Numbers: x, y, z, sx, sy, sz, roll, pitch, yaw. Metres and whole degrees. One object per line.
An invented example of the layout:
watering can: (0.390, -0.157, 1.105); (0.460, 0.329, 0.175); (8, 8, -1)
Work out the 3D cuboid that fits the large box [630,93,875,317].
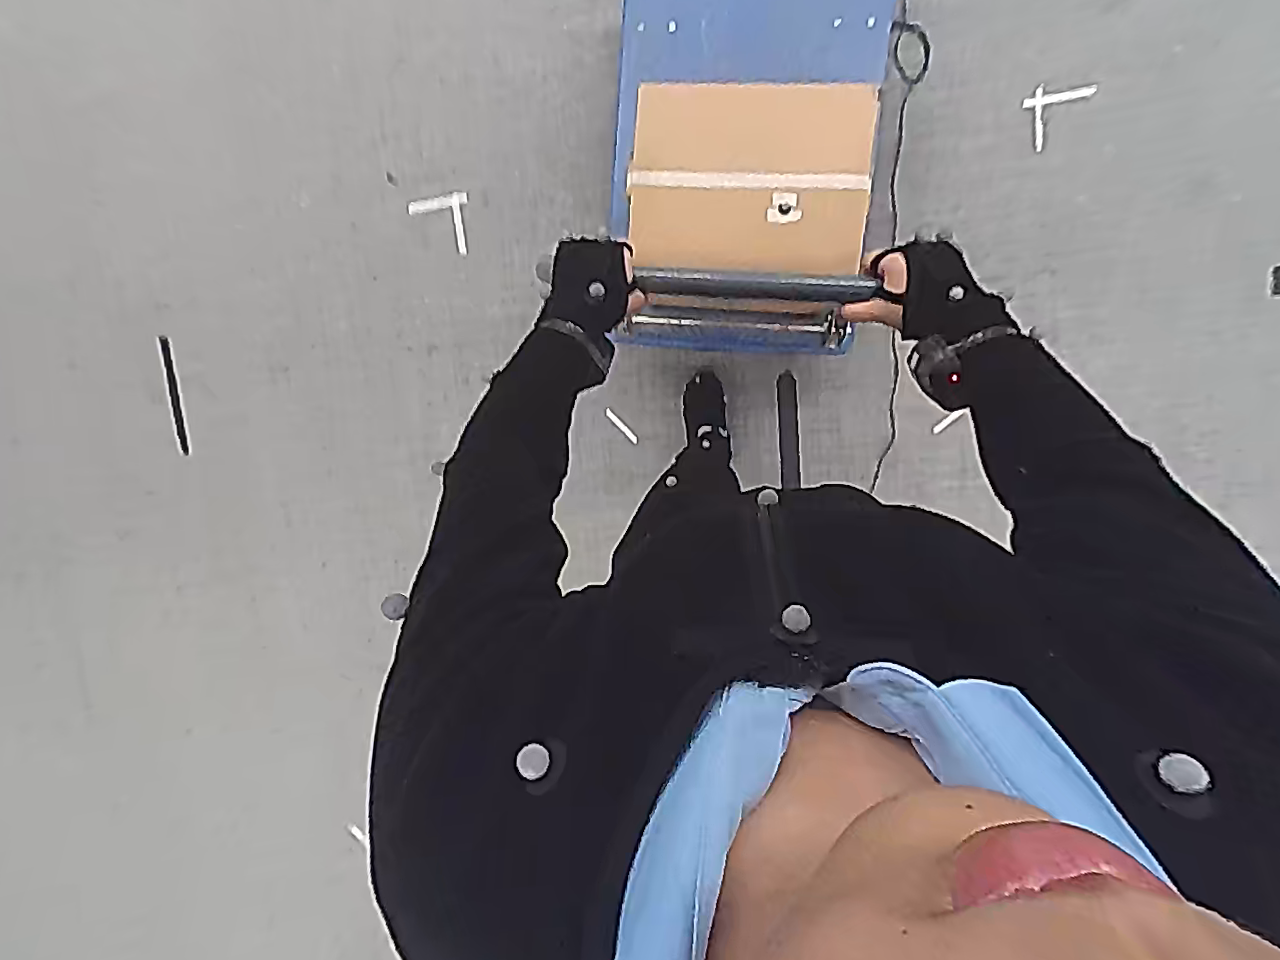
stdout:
large box: (0.200, -0.515, 1.076); (0.408, 0.320, 0.320); (5, 97, 6)
